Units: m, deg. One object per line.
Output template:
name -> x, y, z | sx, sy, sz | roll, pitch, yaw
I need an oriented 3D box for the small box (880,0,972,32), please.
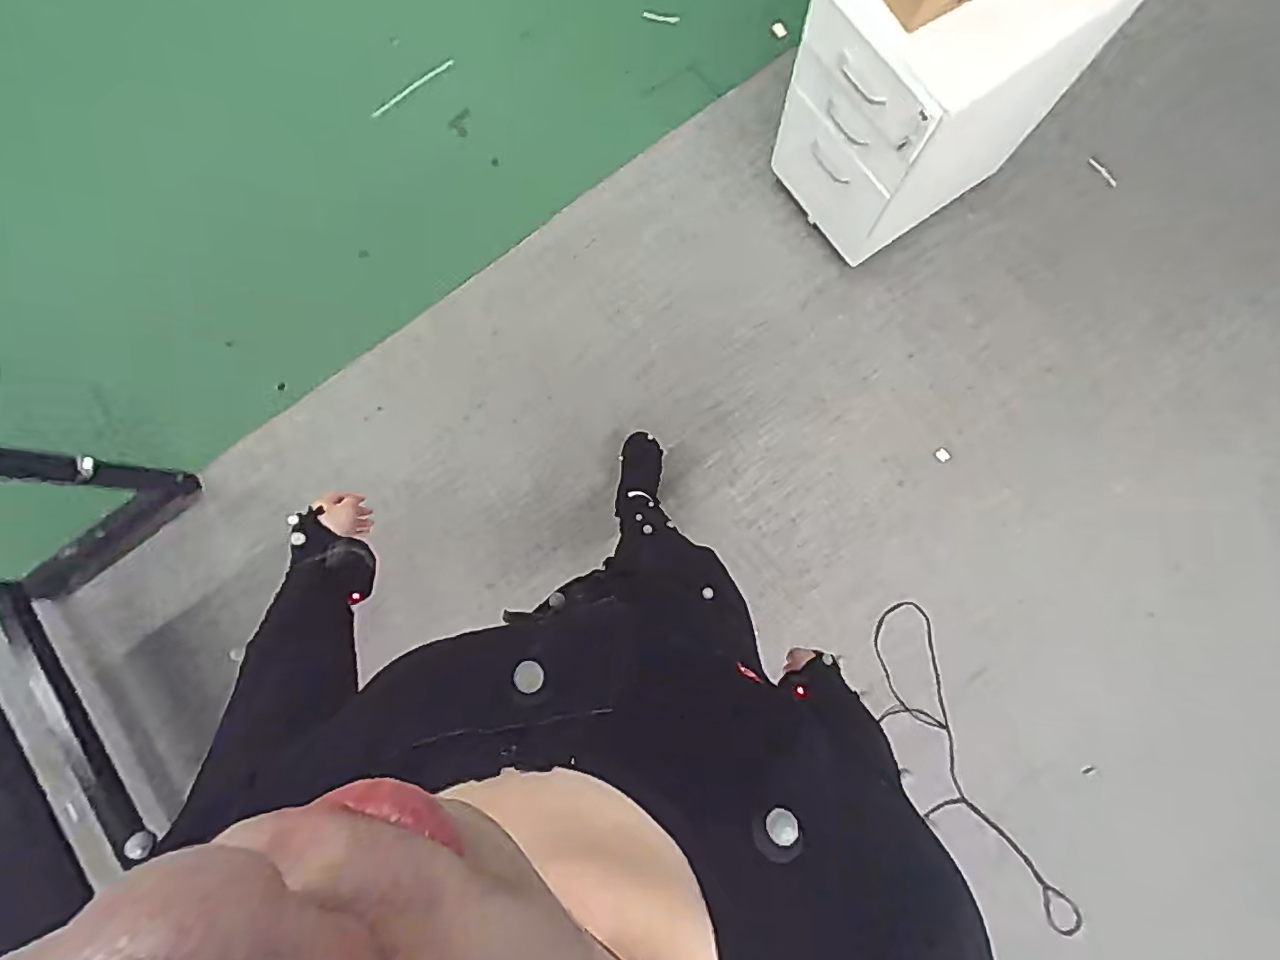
small box -> 0.513, -0.942, 0.932 | 0.168, 0.176, 0.179 | -28, 83, -1
